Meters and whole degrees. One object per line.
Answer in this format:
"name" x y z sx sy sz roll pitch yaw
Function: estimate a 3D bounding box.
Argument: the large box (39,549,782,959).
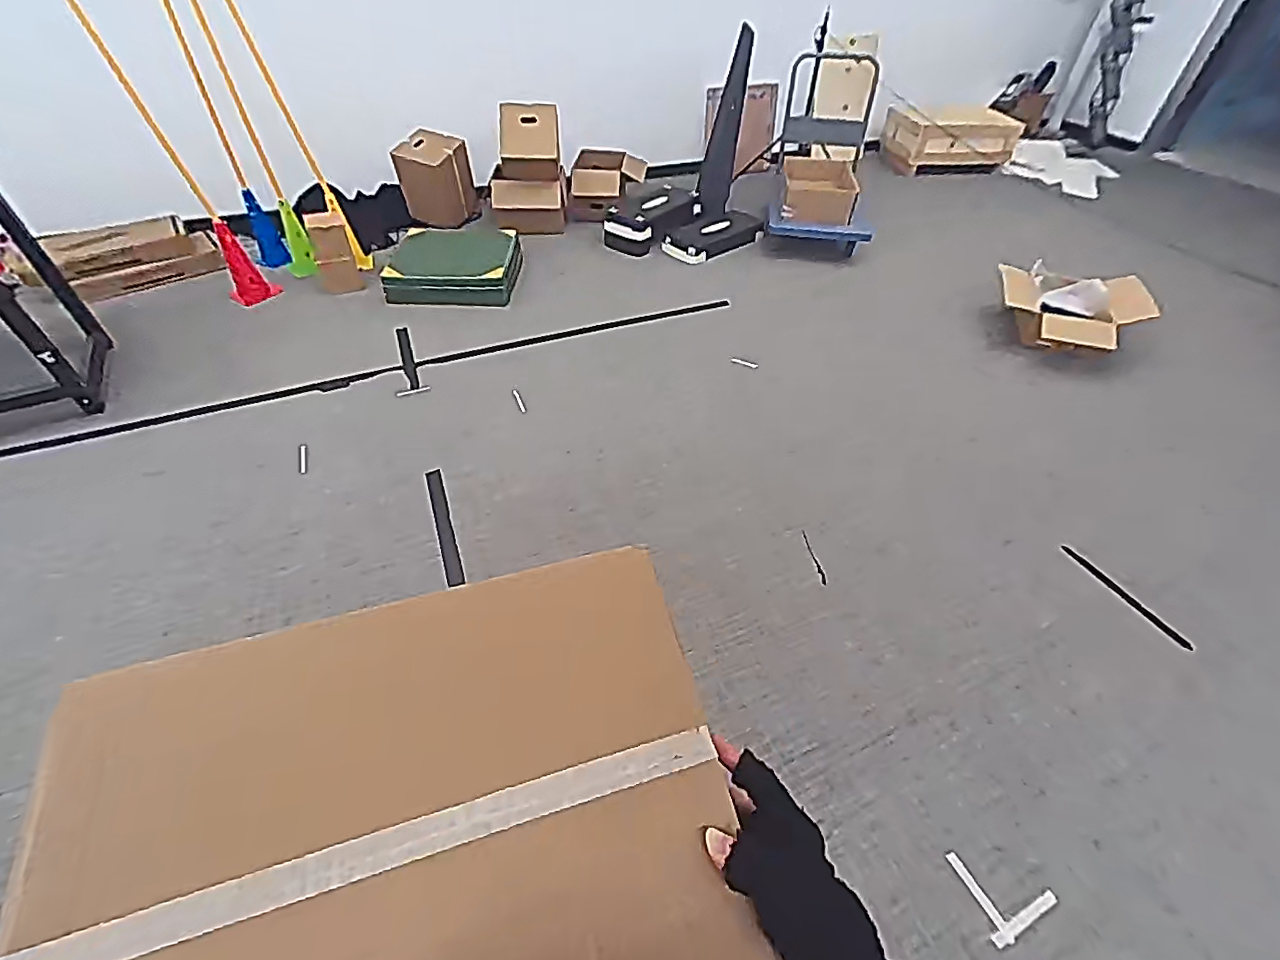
"large box" -0.153 0.304 0.462 0.408 0.320 0.320 -12 61 -12
